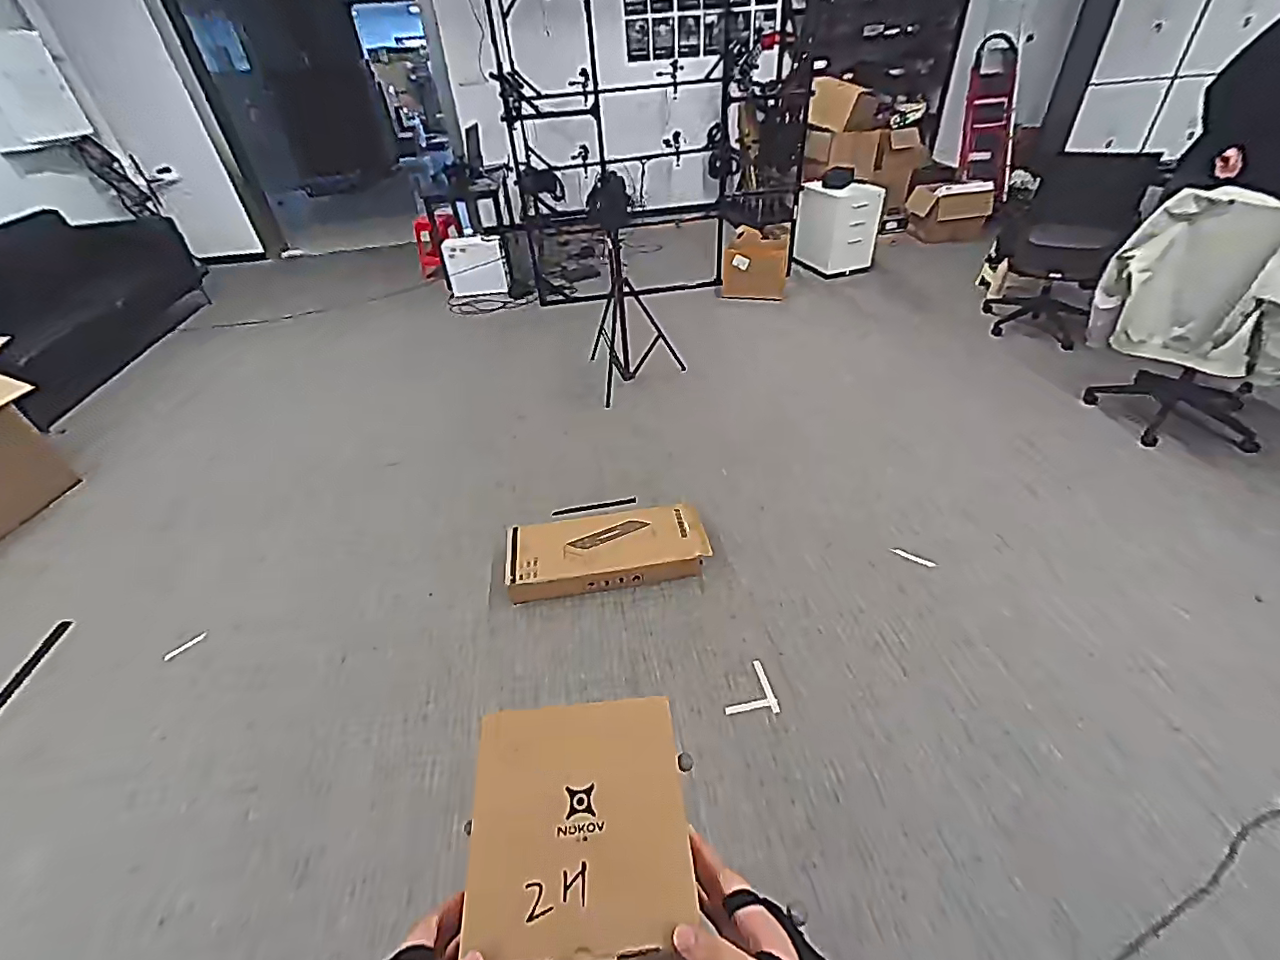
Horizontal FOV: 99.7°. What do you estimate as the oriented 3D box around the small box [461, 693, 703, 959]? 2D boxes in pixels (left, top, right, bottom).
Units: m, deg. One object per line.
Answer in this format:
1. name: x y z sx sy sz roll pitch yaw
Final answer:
1. small box: -0.046 0.315 0.476 0.168 0.176 0.179 -4 44 -4
